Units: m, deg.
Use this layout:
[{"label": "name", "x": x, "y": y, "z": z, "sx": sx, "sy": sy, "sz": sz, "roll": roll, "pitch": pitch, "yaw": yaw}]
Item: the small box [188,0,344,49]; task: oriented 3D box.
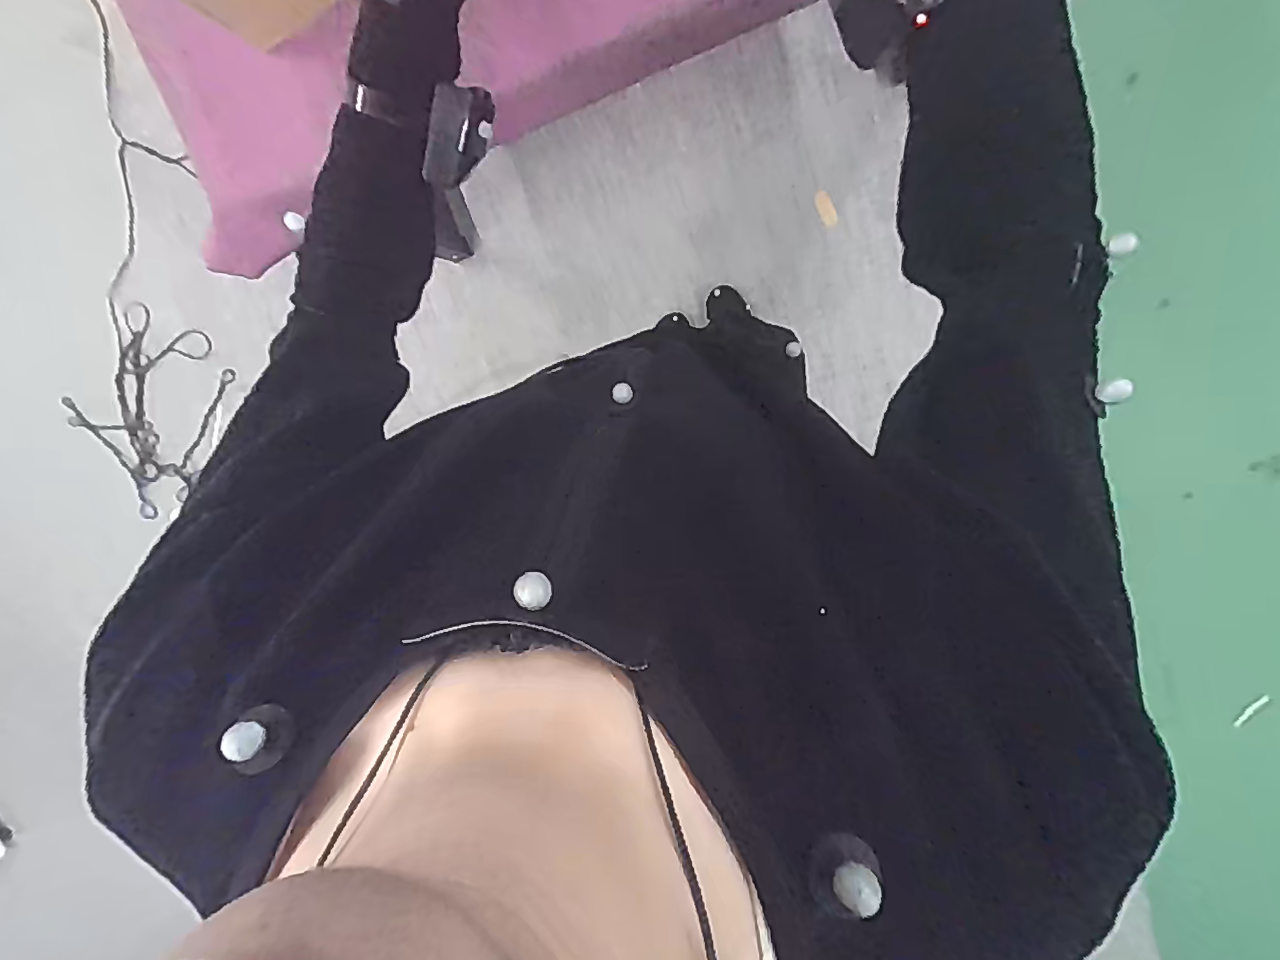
[{"label": "small box", "x": -0.437, "y": -0.611, "z": 0.567, "sx": 0.179, "sy": 0.176, "sz": 0.168, "roll": -23, "pitch": 102, "yaw": 11}]
